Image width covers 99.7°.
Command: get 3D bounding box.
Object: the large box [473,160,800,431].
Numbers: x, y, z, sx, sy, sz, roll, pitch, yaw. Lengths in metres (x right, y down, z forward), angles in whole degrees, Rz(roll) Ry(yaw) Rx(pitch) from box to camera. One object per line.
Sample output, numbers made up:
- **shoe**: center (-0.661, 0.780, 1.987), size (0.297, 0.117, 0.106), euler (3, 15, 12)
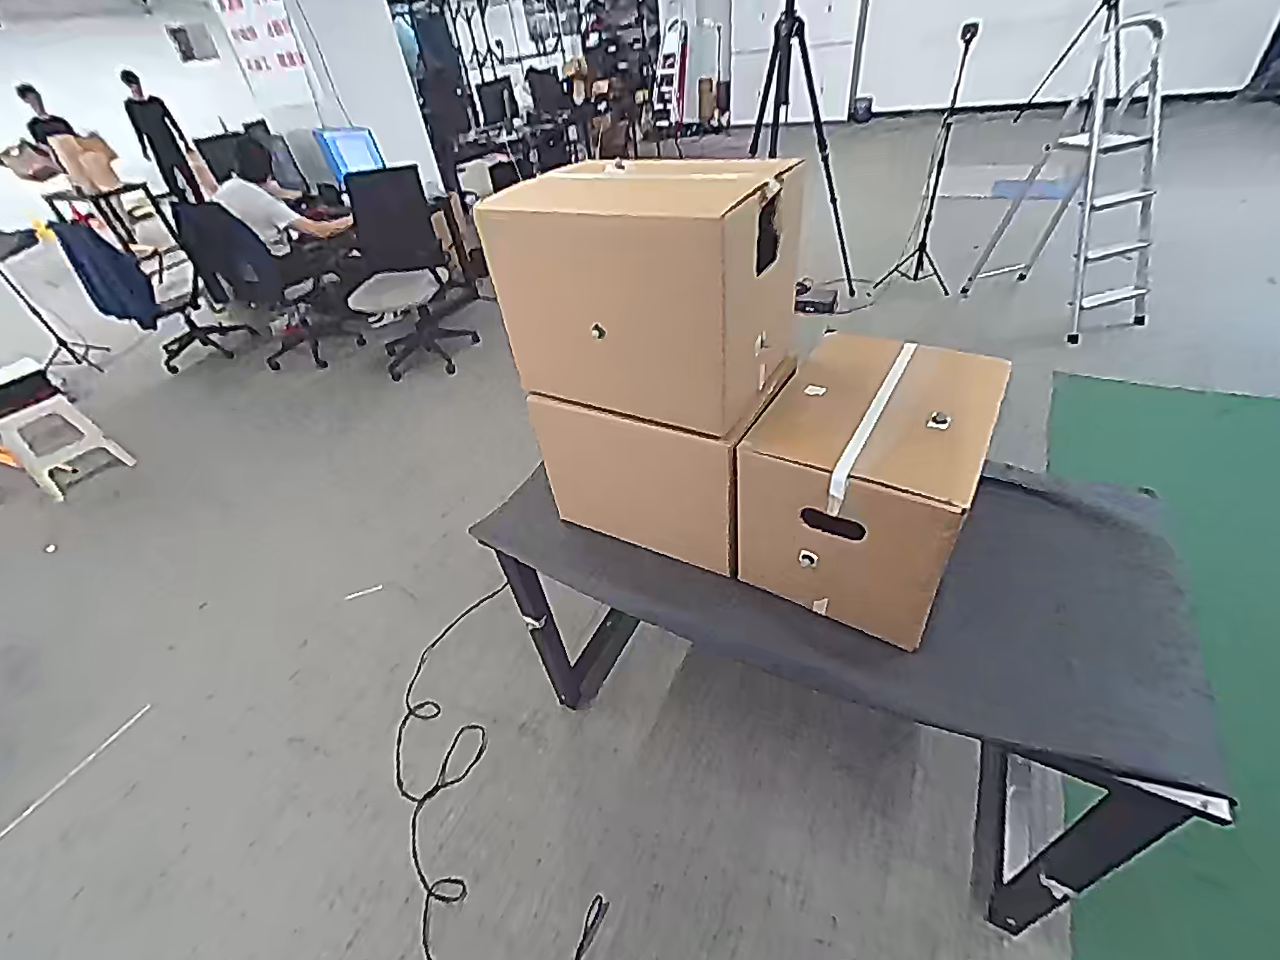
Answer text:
- **large box**: center (0.017, -0.317, 0.895), size (0.408, 0.320, 0.320), euler (16, 45, 28)
